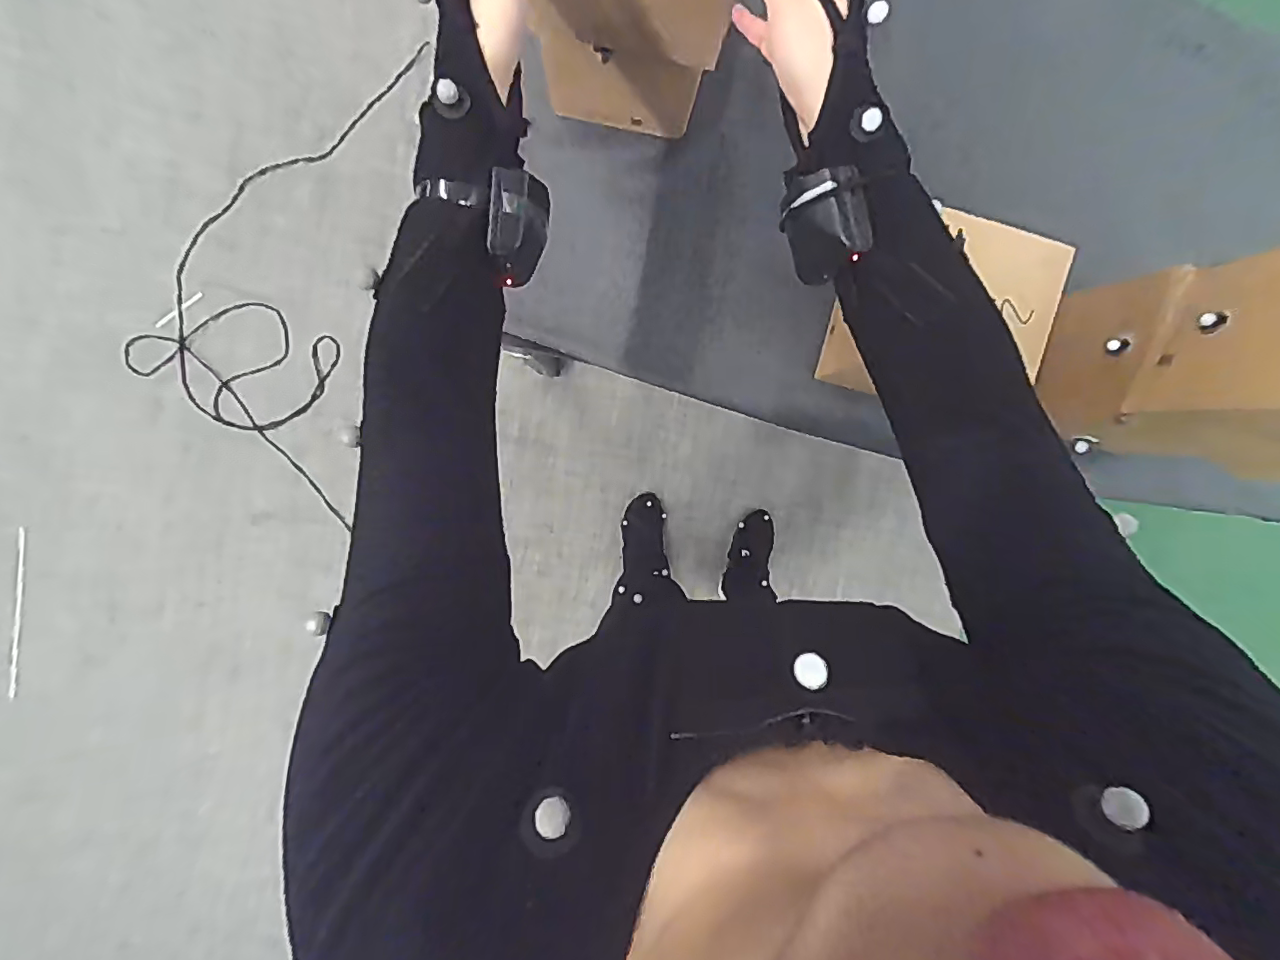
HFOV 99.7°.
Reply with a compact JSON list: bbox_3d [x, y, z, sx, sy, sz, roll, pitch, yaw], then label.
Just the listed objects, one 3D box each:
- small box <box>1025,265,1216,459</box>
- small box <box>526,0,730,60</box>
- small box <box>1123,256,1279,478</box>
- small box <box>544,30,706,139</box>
[{"bbox_3d":[0.615,-0.130,0.653,0.168,0.176,0.179,13,95,-3],"label":"small box"},{"bbox_3d":[0.001,-0.464,0.407,0.179,0.176,0.168,9,96,-4],"label":"small box"},{"bbox_3d":[0.620,-0.101,0.493,0.179,0.176,0.168,24,93,-4],"label":"small box"},{"bbox_3d":[-0.009,-0.512,0.581,0.168,0.176,0.179,9,96,-4],"label":"small box"}]
